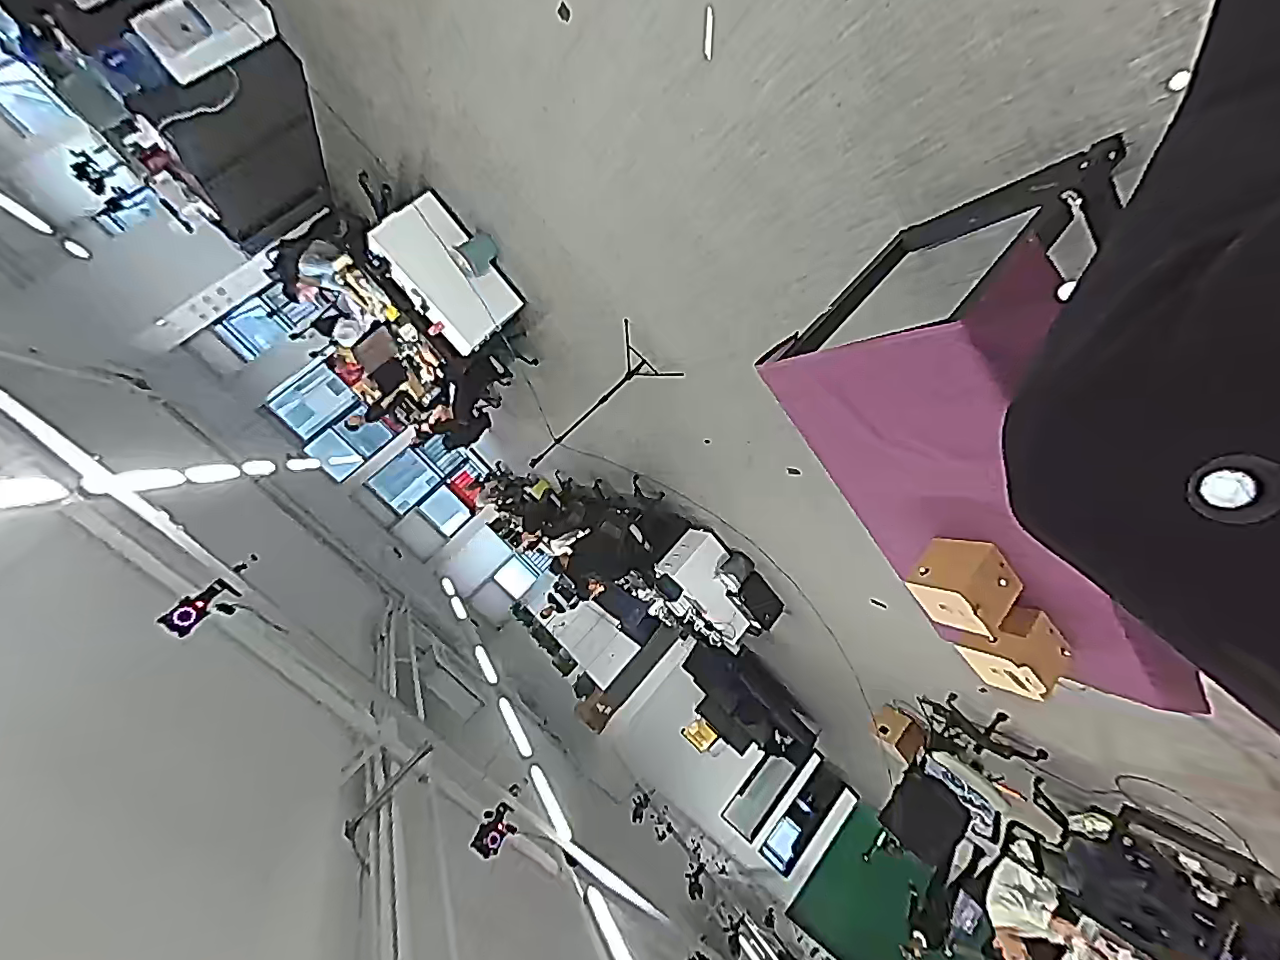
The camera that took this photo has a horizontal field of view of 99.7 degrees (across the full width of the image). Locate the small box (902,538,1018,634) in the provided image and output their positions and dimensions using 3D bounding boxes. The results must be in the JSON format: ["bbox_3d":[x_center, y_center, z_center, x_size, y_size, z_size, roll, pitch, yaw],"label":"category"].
[{"bbox_3d":[0.845,0.270,1.429,0.168,0.176,0.179,48,163,-15],"label":"small box"}]

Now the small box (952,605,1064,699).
[{"bbox_3d":[1.014,0.457,1.481,0.168,0.176,0.179,48,164,-11],"label":"small box"}]
